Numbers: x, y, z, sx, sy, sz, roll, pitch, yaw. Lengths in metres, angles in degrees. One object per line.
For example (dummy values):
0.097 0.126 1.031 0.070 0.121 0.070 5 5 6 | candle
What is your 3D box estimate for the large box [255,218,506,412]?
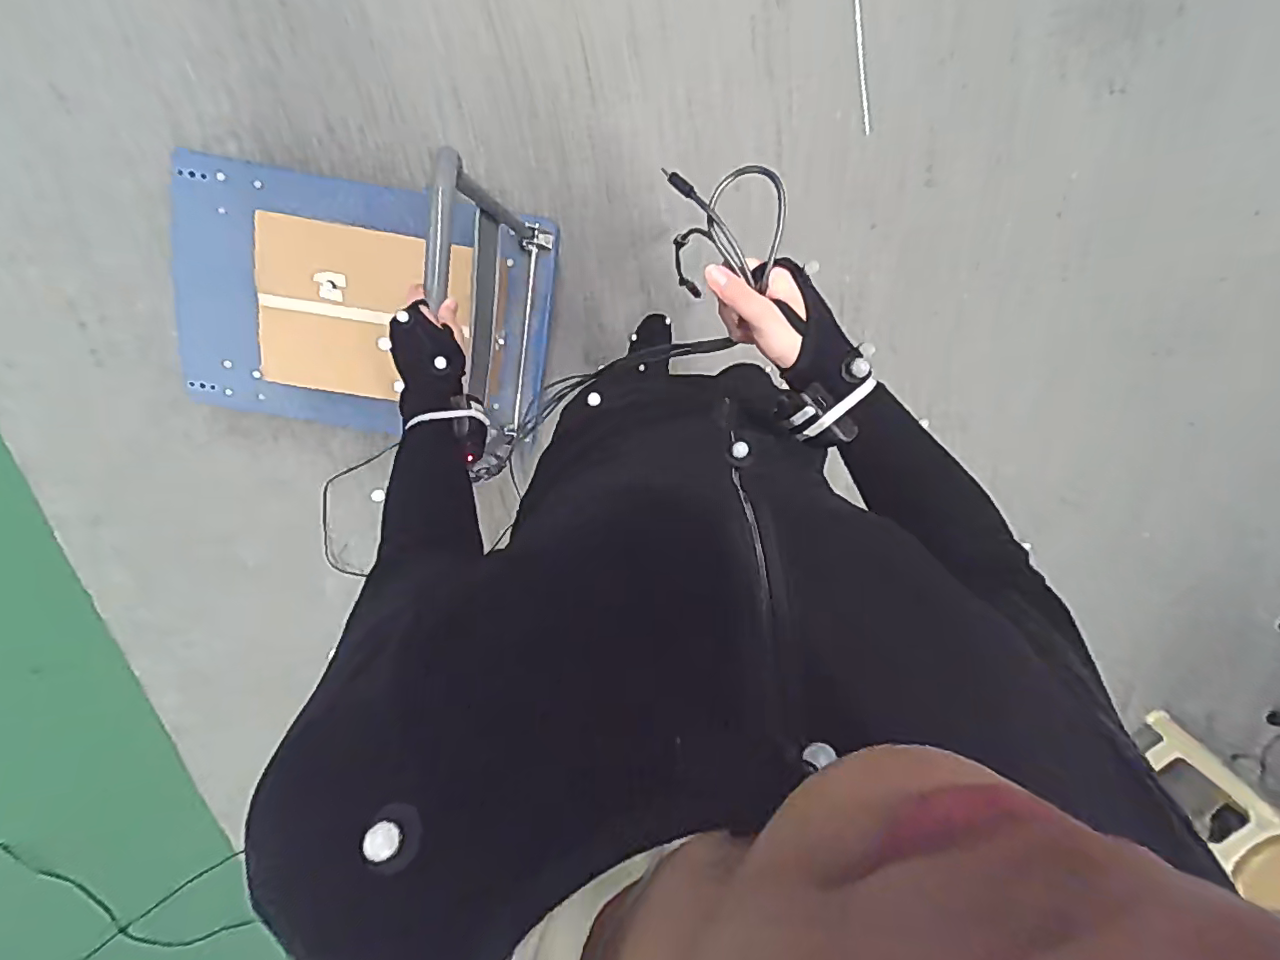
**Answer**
-0.527 -0.349 1.175 0.408 0.320 0.320 8 105 -4 | large box
